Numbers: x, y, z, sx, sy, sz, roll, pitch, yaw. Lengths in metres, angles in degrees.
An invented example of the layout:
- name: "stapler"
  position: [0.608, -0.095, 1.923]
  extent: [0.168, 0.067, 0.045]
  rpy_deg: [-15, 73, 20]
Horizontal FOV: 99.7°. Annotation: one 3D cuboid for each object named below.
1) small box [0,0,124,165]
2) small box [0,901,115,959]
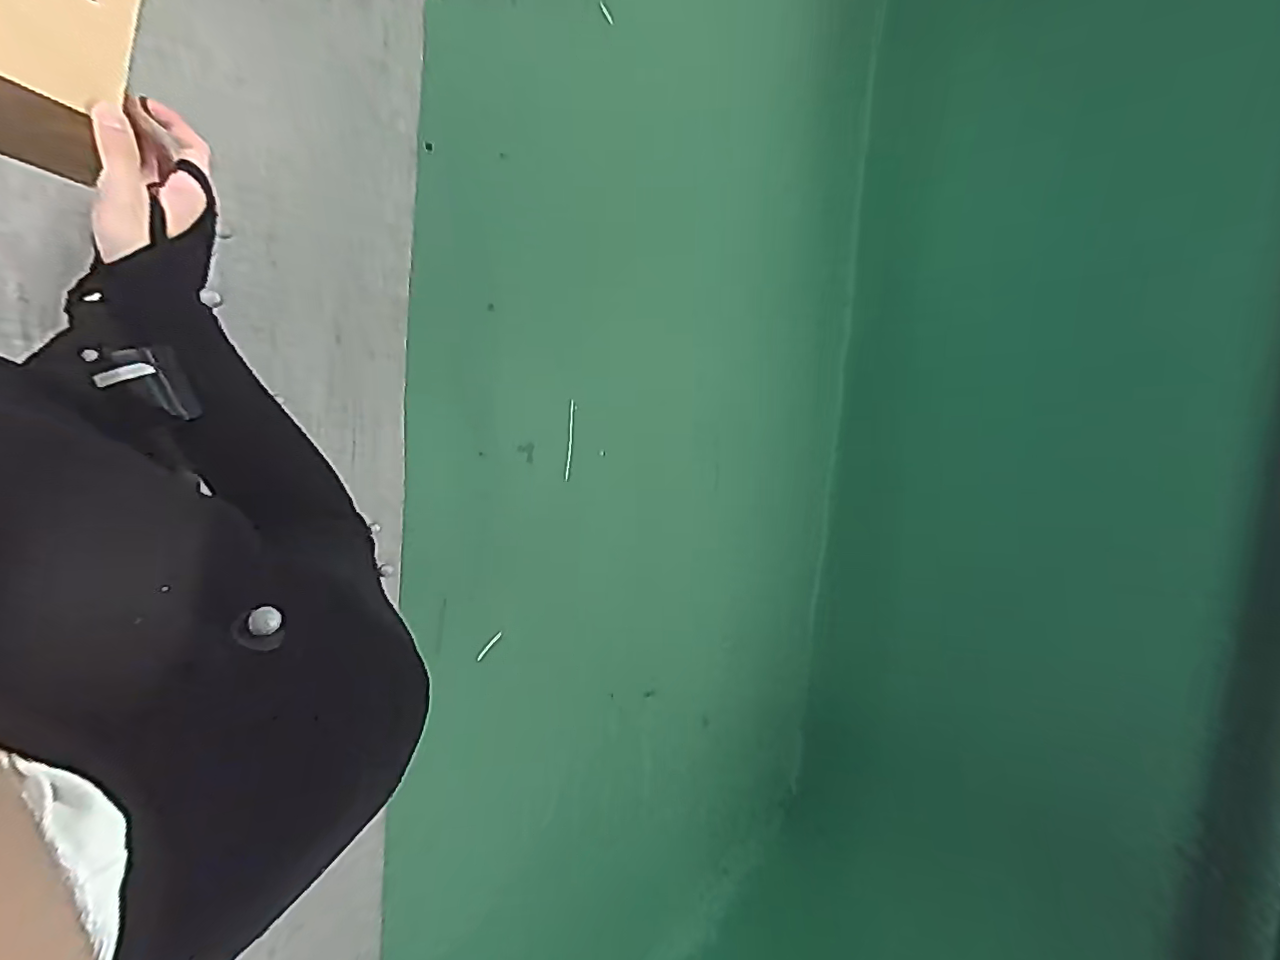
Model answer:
- name: "small box"
  position: [-0.485, -0.355, 0.372]
  extent: [0.179, 0.176, 0.168]
  rpy_deg: [10, 88, -50]
- name: "small box"
  position: [-1.078, 0.924, 0.987]
  extent: [0.168, 0.176, 0.179]
  rpy_deg: [-1, 97, -45]
